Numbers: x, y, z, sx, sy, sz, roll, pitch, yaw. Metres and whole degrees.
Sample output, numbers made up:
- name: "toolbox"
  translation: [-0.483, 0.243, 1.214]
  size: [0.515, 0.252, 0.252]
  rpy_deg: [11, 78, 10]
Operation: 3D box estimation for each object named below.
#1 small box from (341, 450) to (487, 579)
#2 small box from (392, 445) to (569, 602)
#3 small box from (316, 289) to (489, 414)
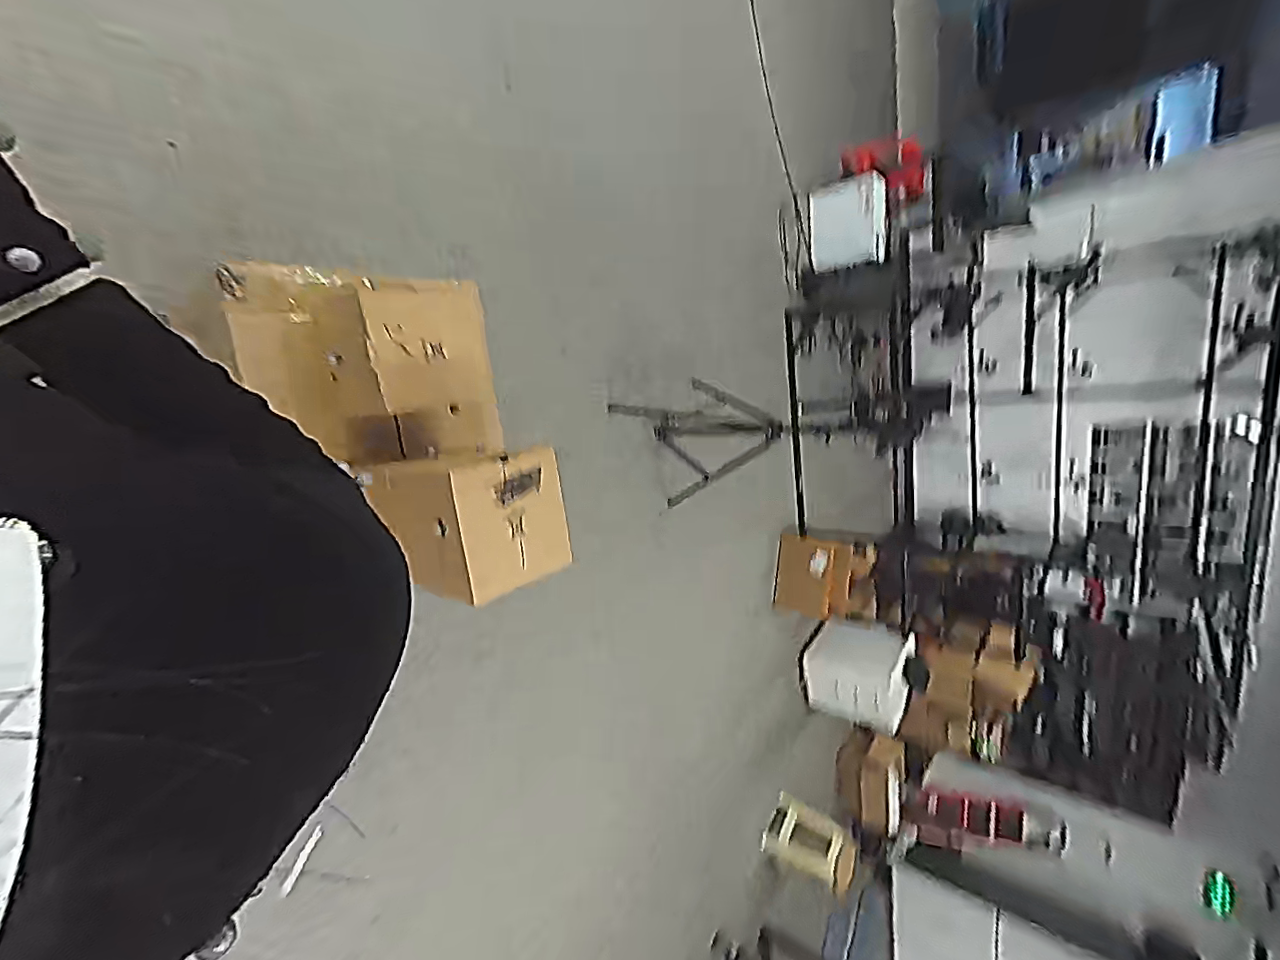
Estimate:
- name: "small box"
  translation: [-0.350, 0.044, 0.877]
  size: [0.179, 0.176, 0.168]
  rpy_deg: [-18, 104, -45]
- name: "small box"
  translation: [-0.227, 0.051, 0.767]
  size: [0.168, 0.176, 0.179]
  rpy_deg: [-18, 105, -46]
- name: "small box"
  translation: [-0.365, -0.196, 0.838]
  size: [0.179, 0.176, 0.168]
  rpy_deg: [-20, 108, -46]
